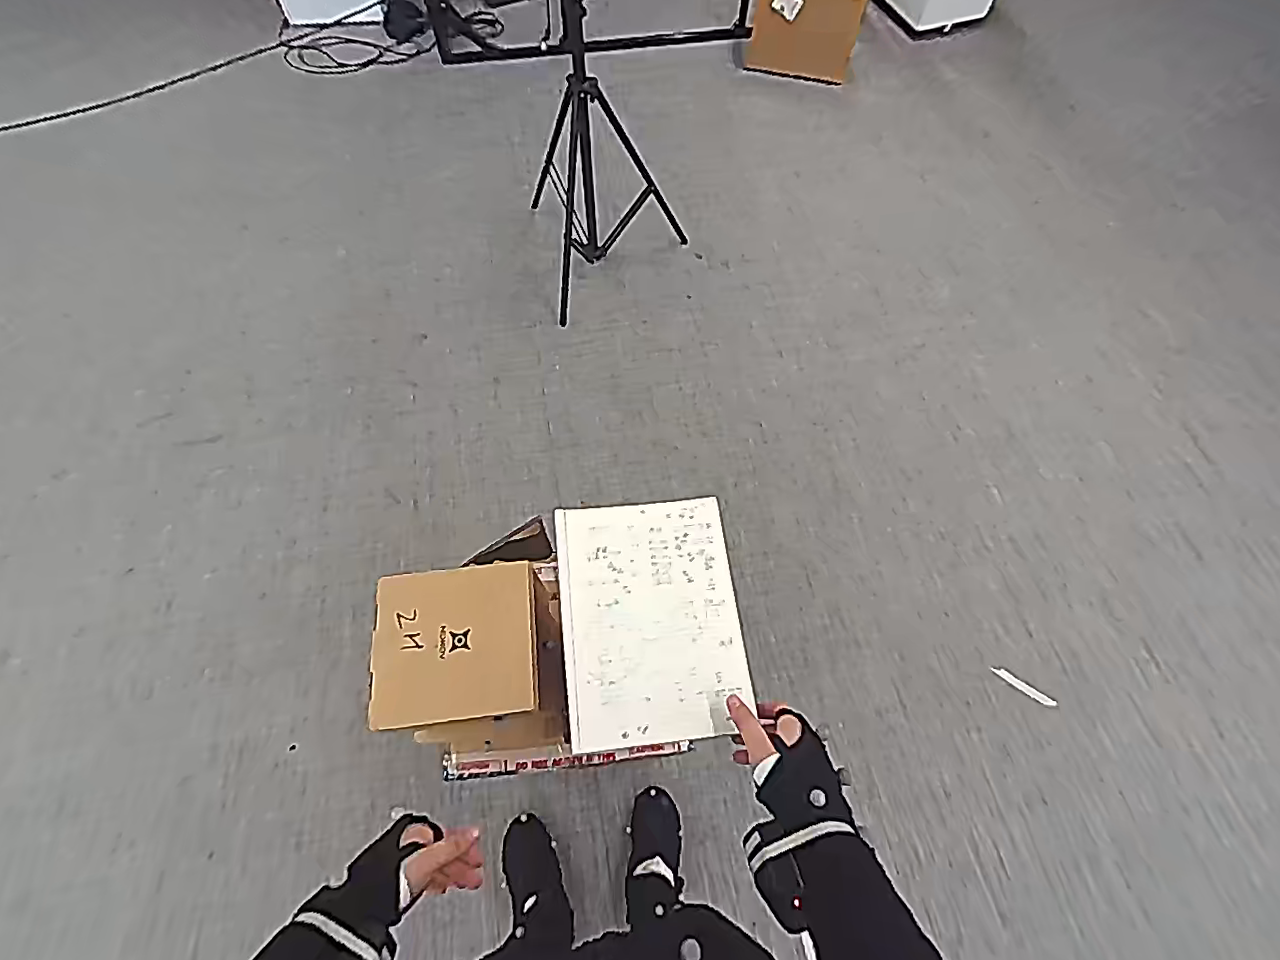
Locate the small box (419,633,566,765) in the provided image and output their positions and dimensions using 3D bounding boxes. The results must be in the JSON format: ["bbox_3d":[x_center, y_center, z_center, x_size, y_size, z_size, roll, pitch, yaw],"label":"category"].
[{"bbox_3d":[-0.206,0.326,0.811,0.179,0.176,0.168,-3,66,-1],"label":"small box"}]

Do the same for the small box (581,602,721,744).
[{"bbox_3d":[0.008,0.297,0.830,0.179,0.176,0.168,-9,66,-7],"label":"small box"}]
